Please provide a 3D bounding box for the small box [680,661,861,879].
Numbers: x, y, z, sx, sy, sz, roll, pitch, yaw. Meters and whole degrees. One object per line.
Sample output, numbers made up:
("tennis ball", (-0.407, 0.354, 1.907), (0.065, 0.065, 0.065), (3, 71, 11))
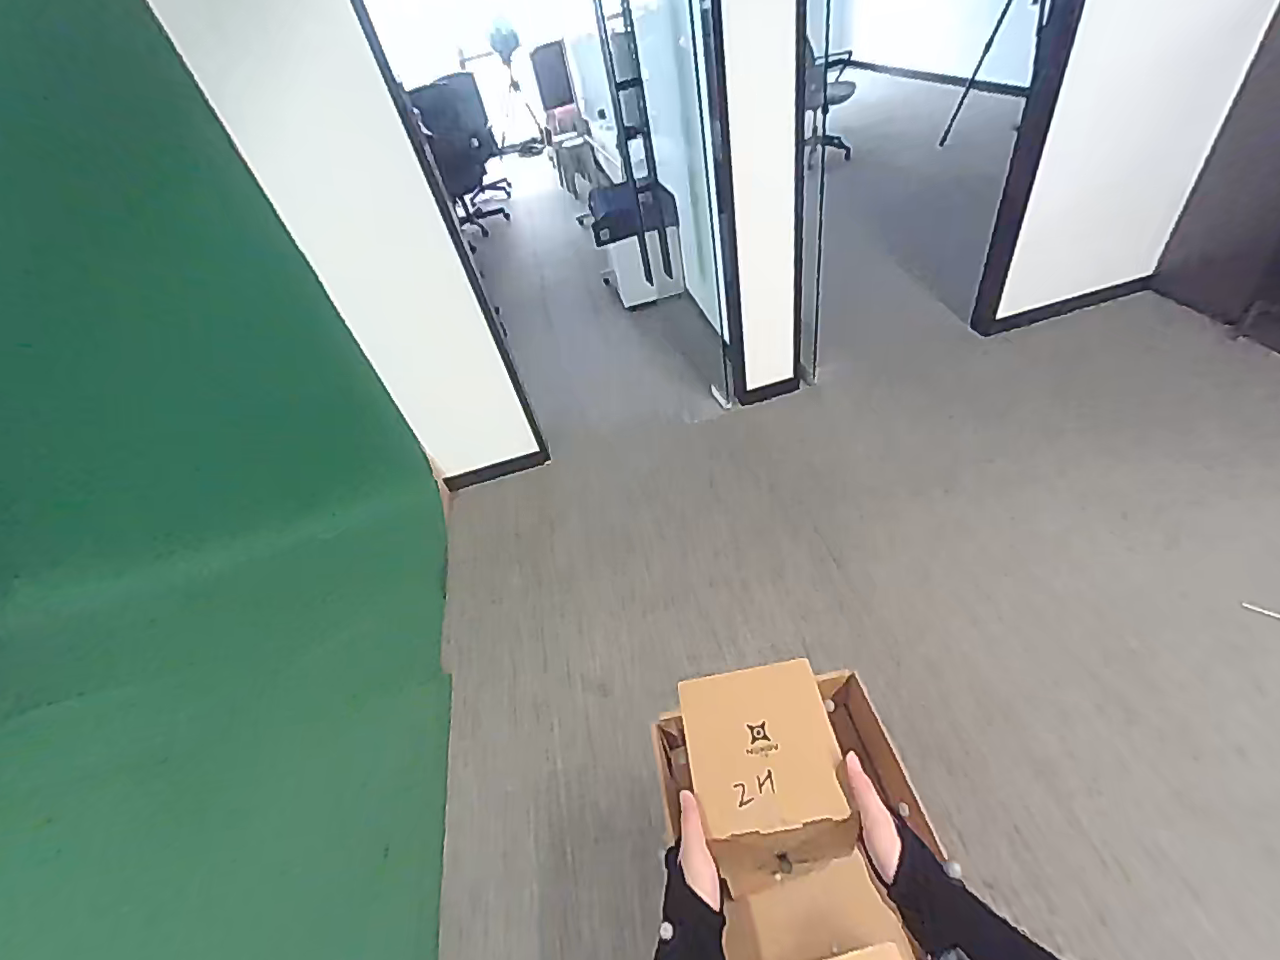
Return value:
("small box", (0.150, 0.350, 0.653), (0.168, 0.176, 0.179), (-13, 42, 5))
